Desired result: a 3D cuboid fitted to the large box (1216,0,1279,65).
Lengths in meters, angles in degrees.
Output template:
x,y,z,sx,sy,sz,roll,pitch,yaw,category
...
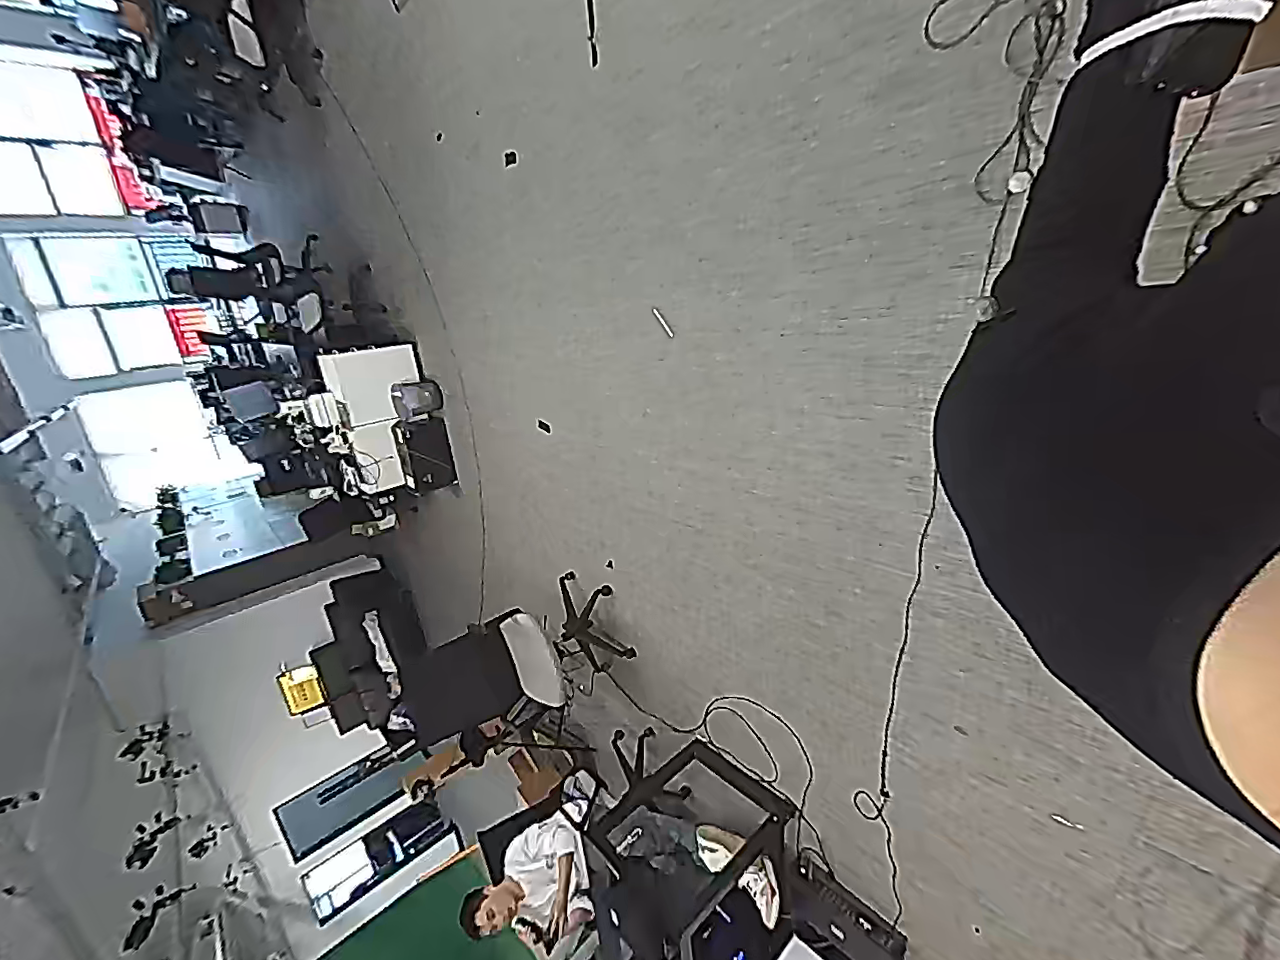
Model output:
x,y,z,sx,sy,sz,roll,pitch,yaw,category
0.600,-0.464,0.253,0.408,0.320,0.320,17,122,46,large box
